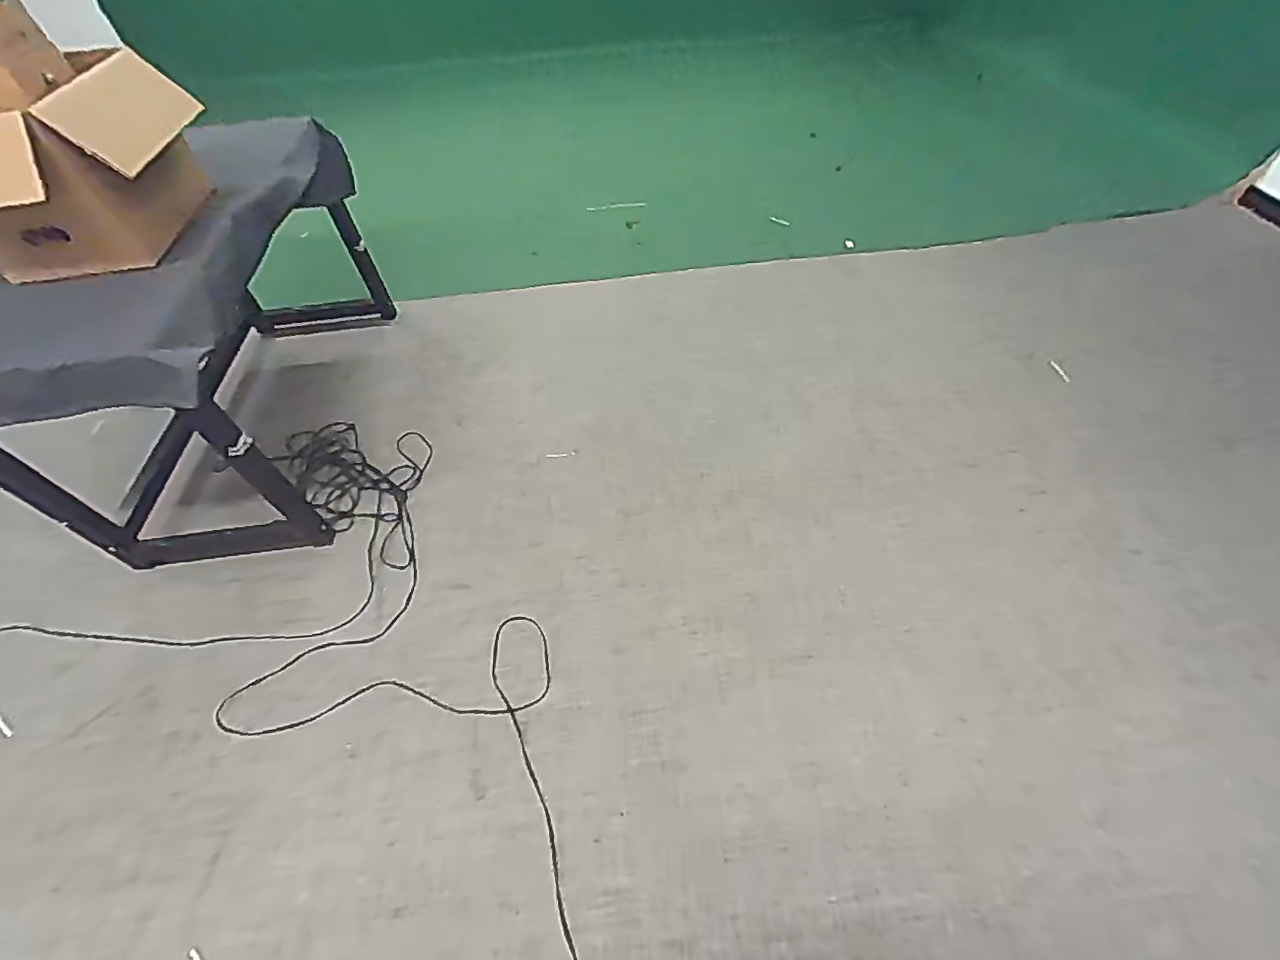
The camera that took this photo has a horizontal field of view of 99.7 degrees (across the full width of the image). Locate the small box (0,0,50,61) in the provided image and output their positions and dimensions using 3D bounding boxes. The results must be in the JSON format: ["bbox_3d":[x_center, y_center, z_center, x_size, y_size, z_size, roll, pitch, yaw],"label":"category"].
[{"bbox_3d":[-1.285,-0.876,0.999,0.179,0.176,0.168,-7,51,0],"label":"small box"}]

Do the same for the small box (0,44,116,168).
[{"bbox_3d":[-1.267,-0.778,1.127,0.168,0.176,0.179,-8,52,-2],"label":"small box"}]
